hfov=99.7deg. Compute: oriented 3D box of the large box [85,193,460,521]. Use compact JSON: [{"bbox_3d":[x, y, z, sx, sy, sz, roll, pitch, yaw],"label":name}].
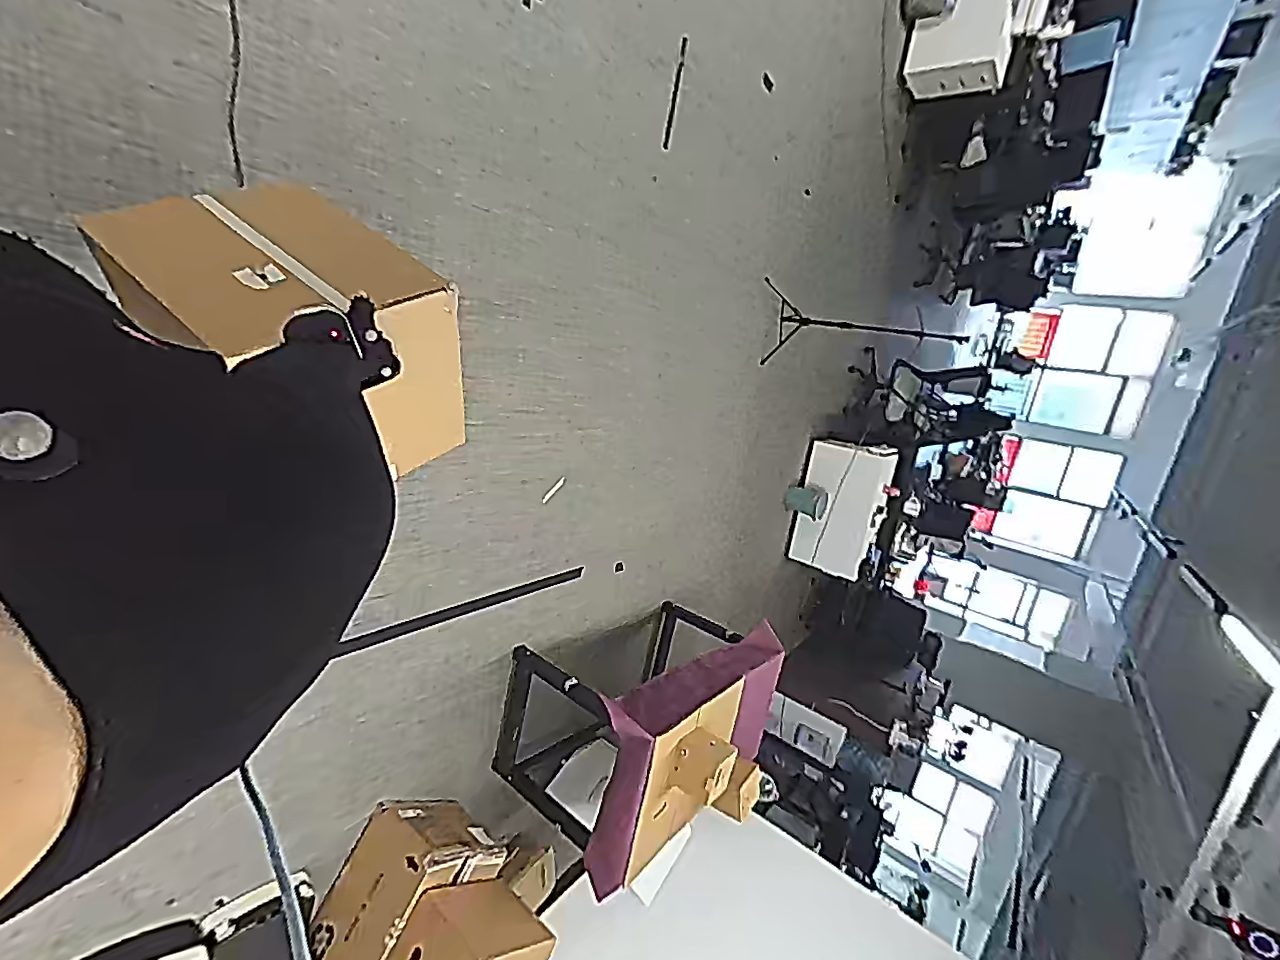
[{"bbox_3d":[-0.547,-0.212,0.878,0.320,0.408,0.320,-39,157,-39],"label":"large box"}]
